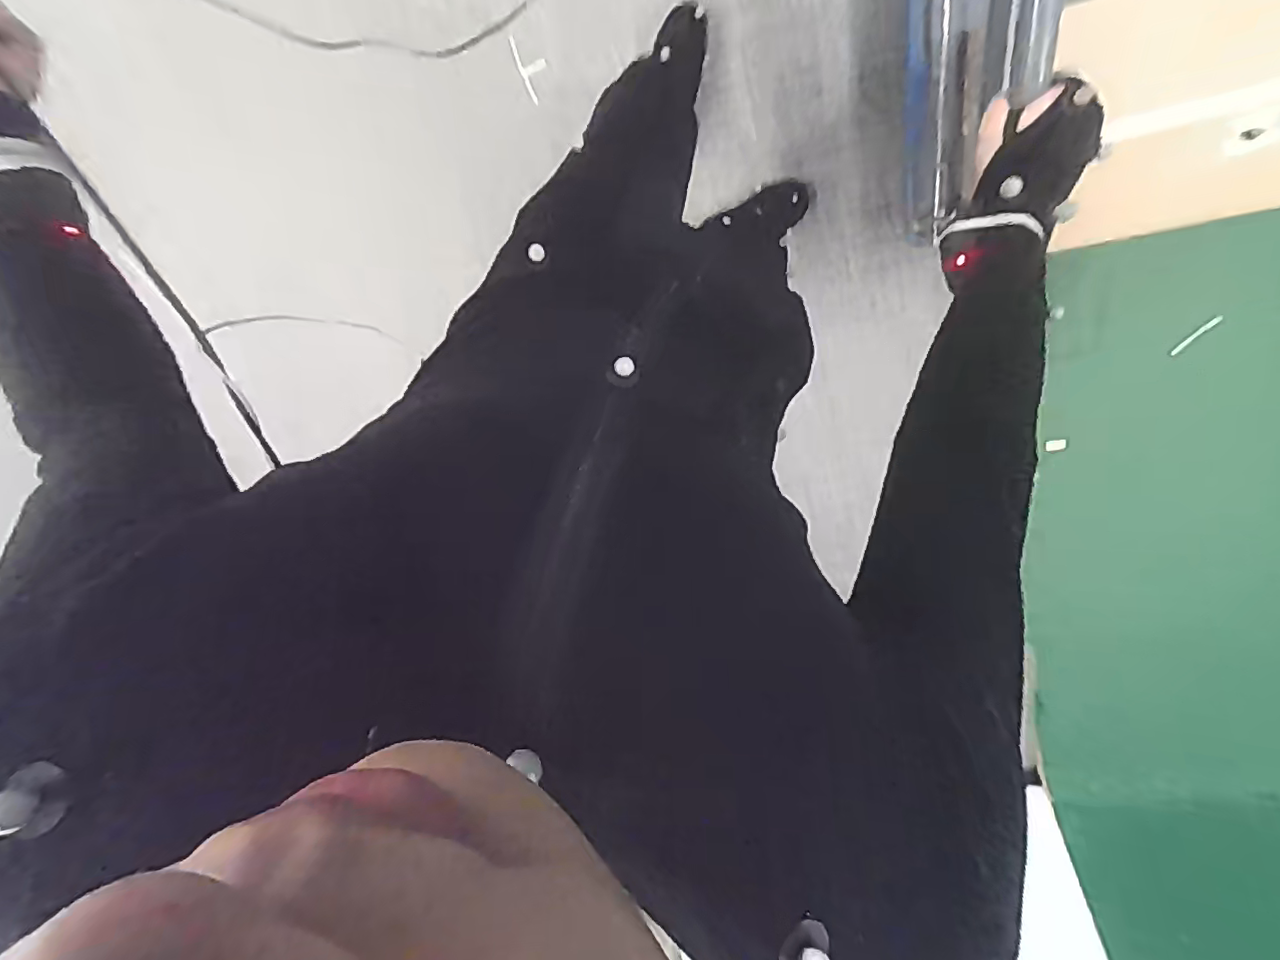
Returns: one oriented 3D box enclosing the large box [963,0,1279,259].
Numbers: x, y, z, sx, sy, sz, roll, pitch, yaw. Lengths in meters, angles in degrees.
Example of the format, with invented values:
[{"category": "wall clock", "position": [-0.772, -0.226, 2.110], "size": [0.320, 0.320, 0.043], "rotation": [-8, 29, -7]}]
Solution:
[{"category": "large box", "position": [0.770, -0.587, 0.845], "size": [0.408, 0.320, 0.320], "rotation": [-7, 126, 19]}]
